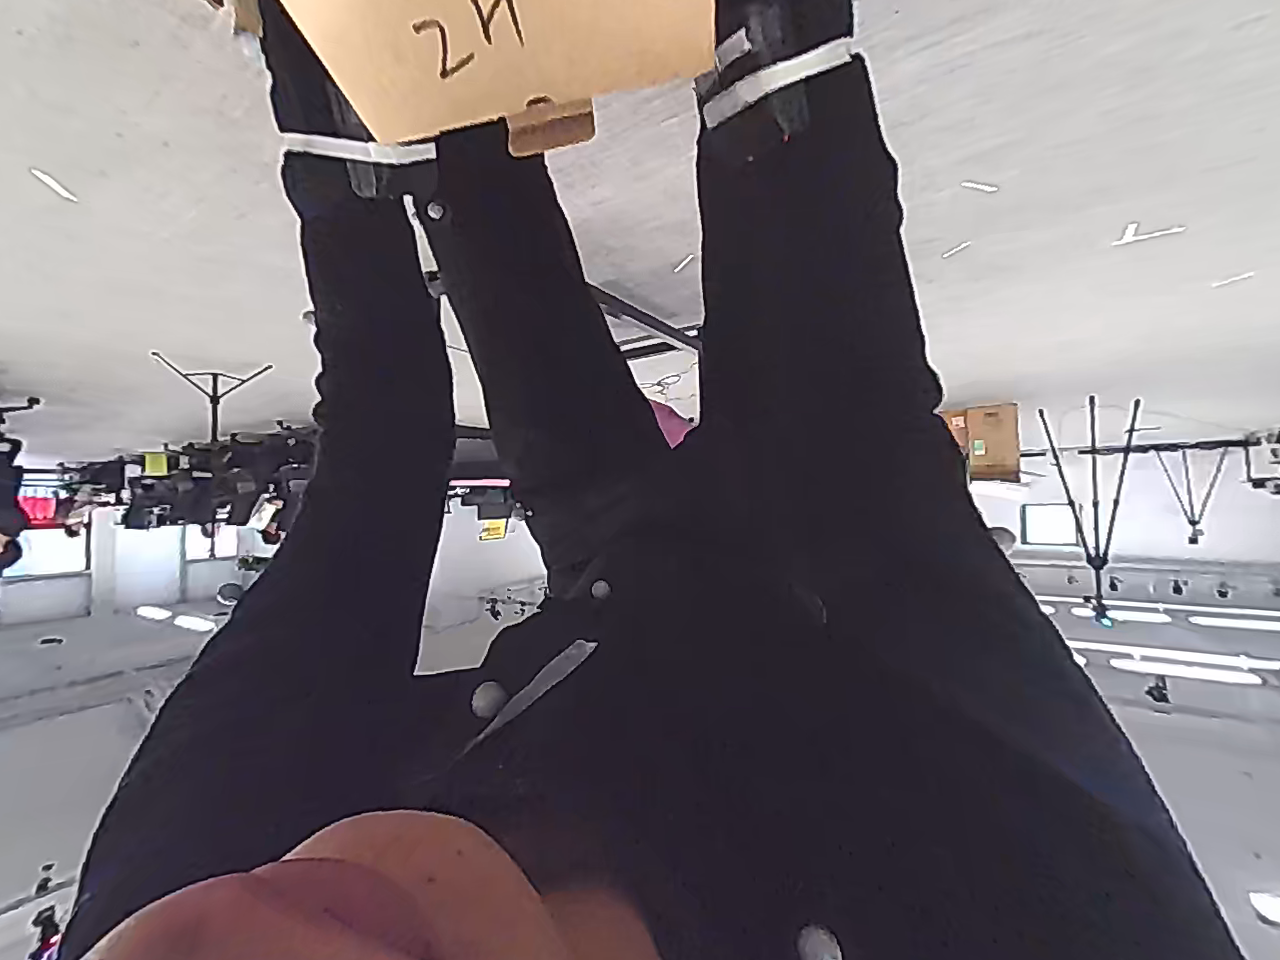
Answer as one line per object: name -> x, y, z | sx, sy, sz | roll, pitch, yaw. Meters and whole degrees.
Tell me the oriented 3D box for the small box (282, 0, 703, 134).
small box -> -0.070, -0.282, 0.200 | 0.168, 0.176, 0.179 | -7, 164, 7
